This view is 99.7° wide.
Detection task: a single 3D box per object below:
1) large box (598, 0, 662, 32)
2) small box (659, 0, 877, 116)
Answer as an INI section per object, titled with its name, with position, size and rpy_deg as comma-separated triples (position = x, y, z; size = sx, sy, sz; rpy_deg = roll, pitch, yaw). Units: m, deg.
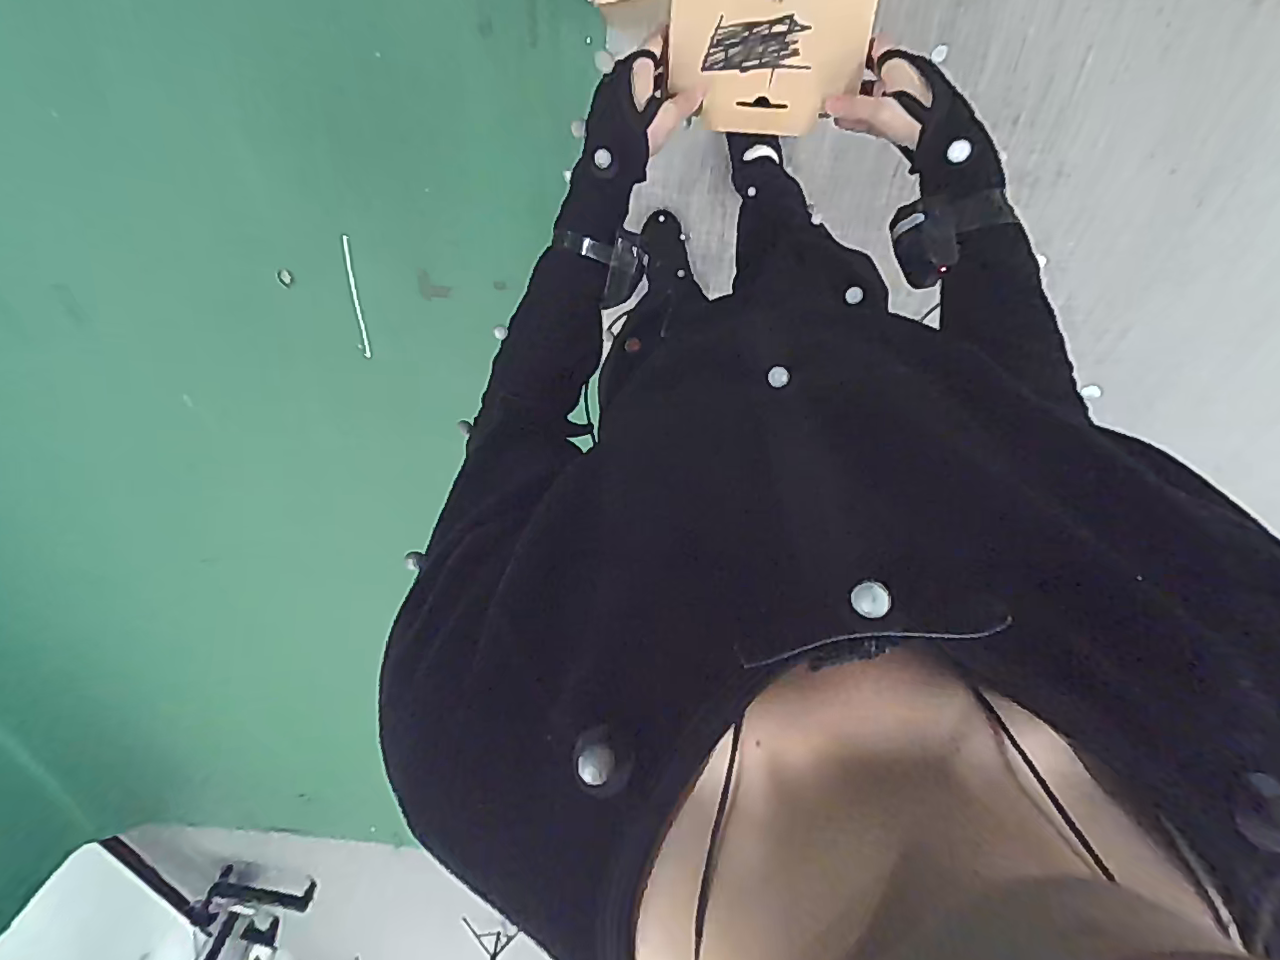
[large box]
position = 0.116, -0.969, 0.862
size = 0.408, 0.320, 0.320
rpy_deg = -6, 122, 10
[small box]
position = 0.106, -0.437, 0.484
size = 0.168, 0.176, 0.179
rpy_deg = 1, 120, -2
